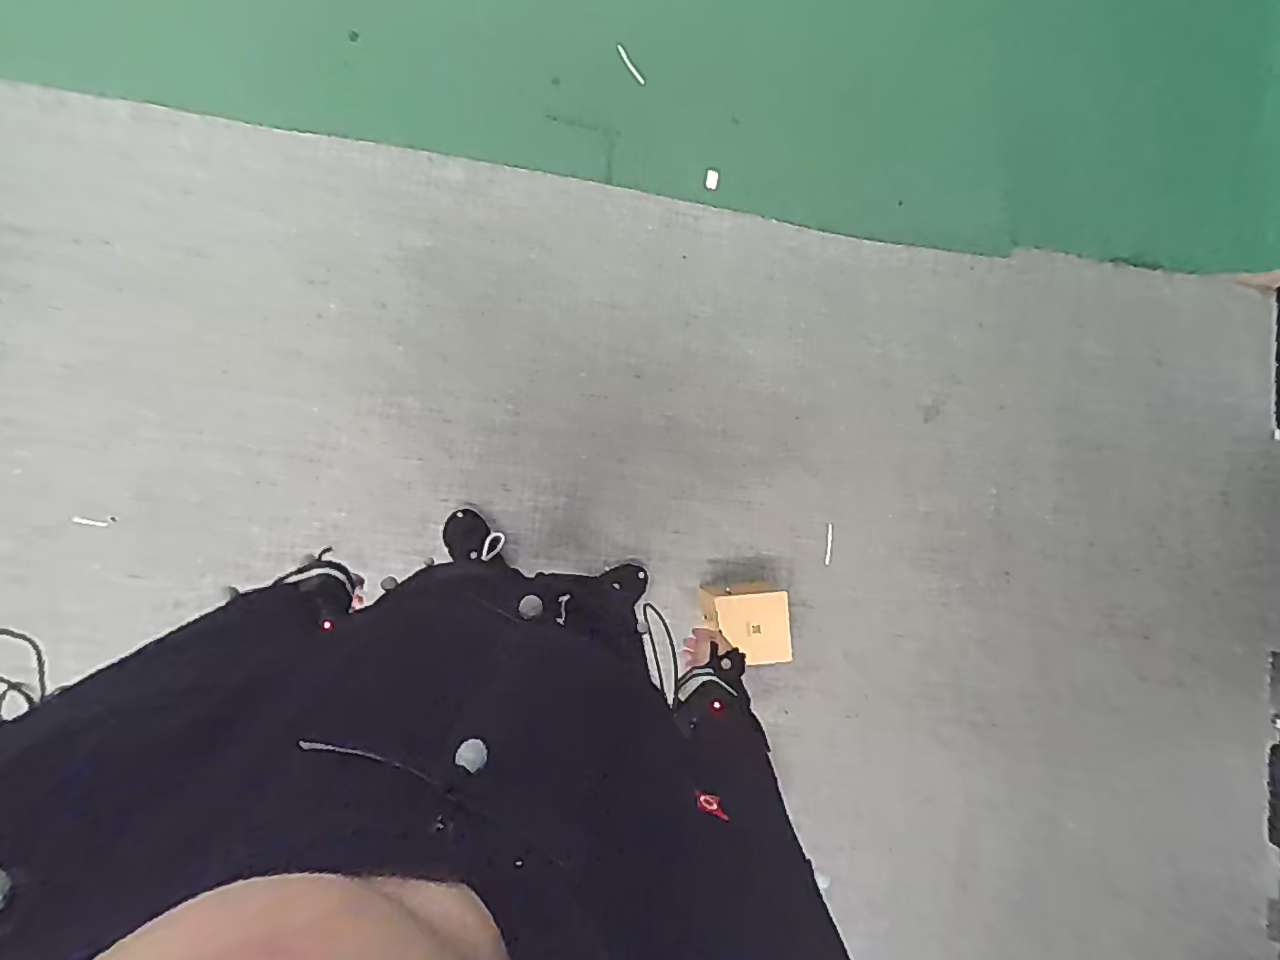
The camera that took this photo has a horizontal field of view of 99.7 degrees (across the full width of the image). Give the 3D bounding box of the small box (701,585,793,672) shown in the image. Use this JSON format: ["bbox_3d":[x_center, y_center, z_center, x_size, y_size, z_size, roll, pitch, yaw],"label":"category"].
[{"bbox_3d":[0.258,0.357,1.328,0.179,0.176,0.168,-4,88,-7],"label":"small box"}]
